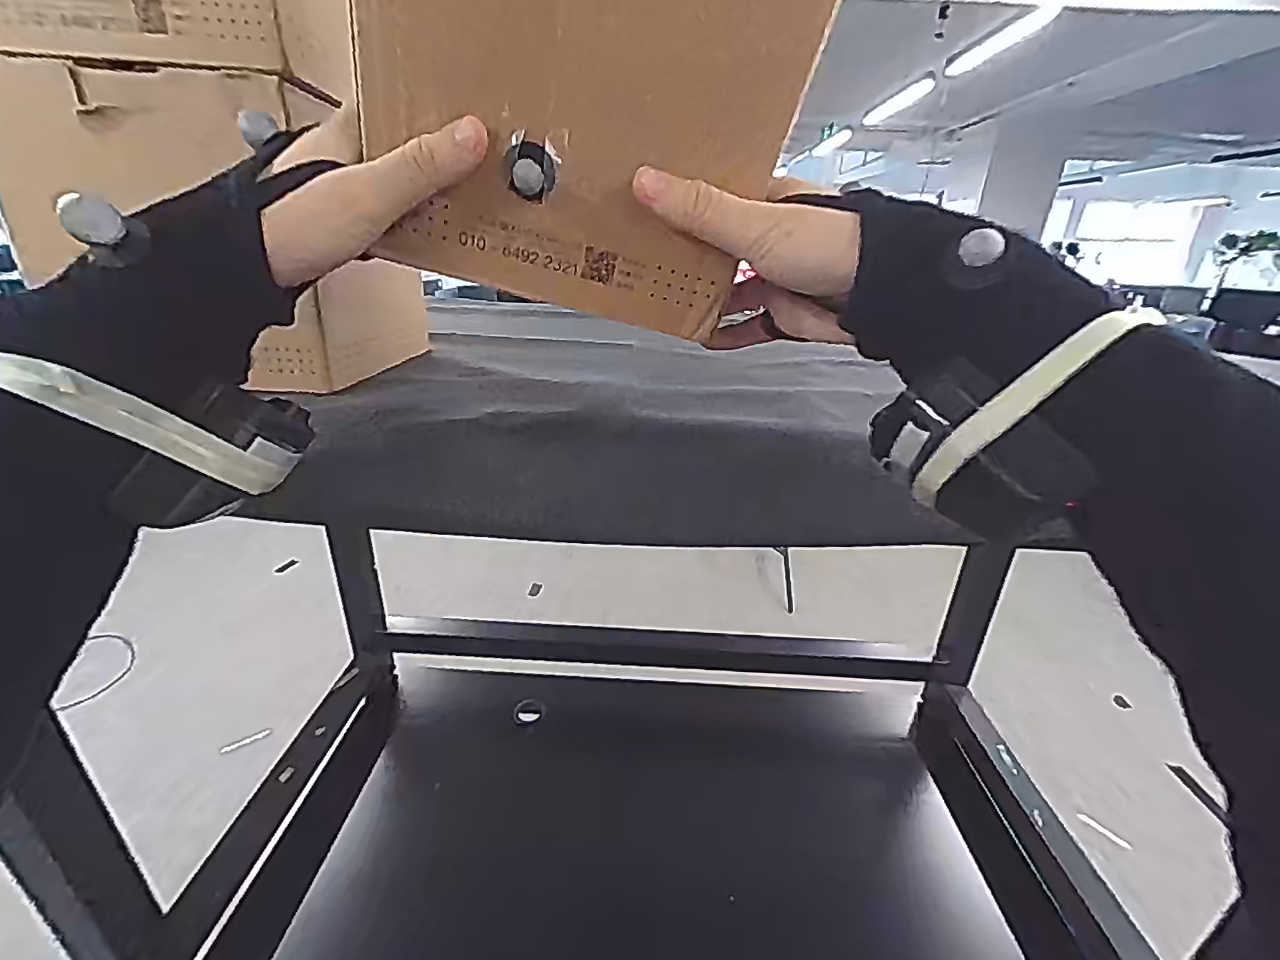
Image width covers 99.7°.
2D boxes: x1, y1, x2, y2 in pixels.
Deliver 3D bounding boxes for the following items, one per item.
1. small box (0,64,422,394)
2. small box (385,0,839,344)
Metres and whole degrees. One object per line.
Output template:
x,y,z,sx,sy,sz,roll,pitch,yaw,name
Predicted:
-0.266,-0.160,0.381,0.168,0.176,0.179,3,21,-2,small box
-0.021,-0.196,0.278,0.168,0.176,0.179,12,38,-8,small box
